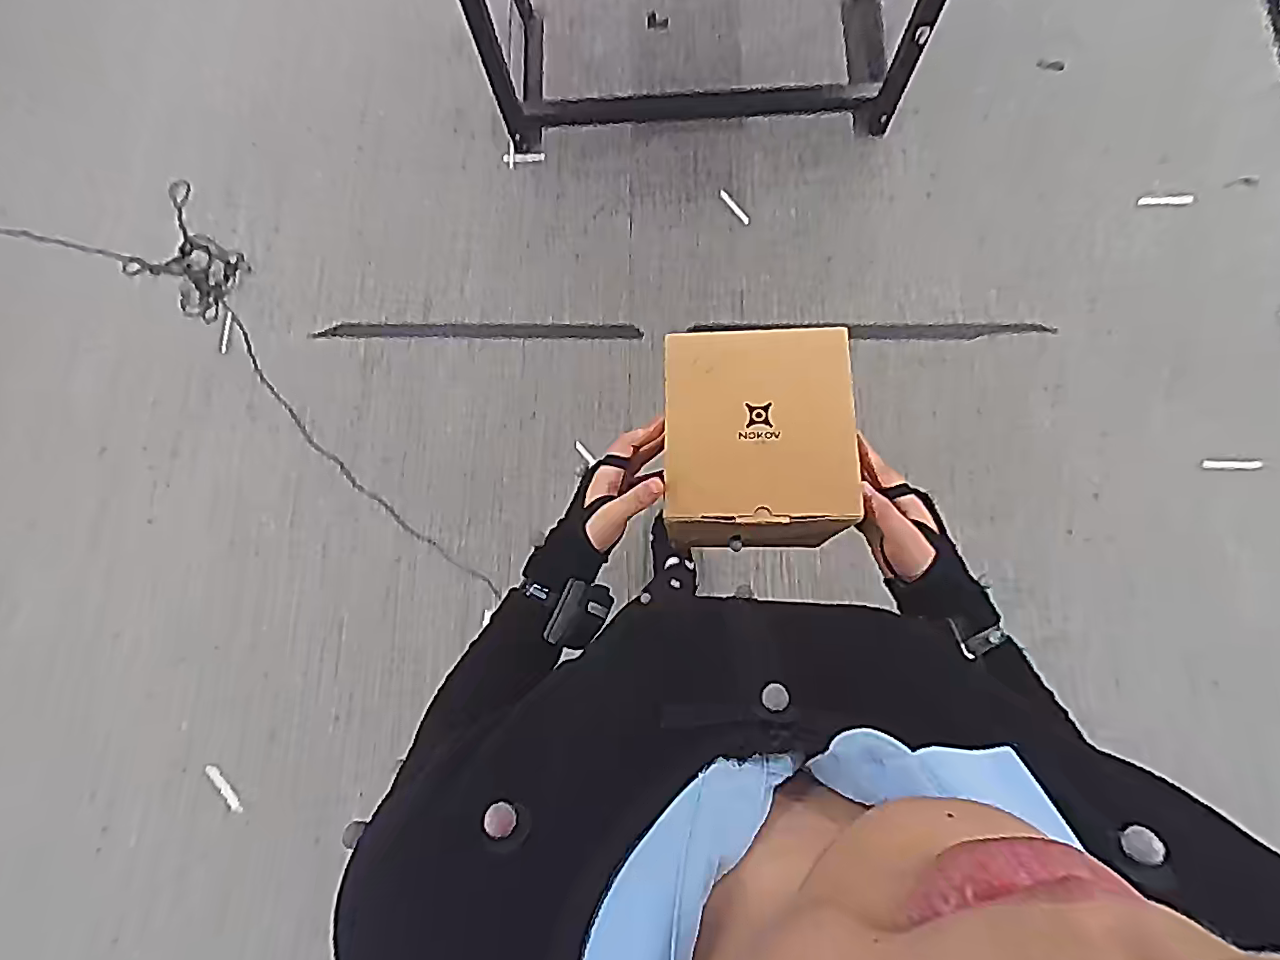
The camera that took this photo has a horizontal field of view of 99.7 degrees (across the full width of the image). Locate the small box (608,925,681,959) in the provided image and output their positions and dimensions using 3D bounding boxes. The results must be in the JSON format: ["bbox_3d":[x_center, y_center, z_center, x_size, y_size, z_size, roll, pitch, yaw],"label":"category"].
[{"bbox_3d":[0.010,1.157,1.231,0.168,0.176,0.179,-2,79,3],"label":"small box"}]
